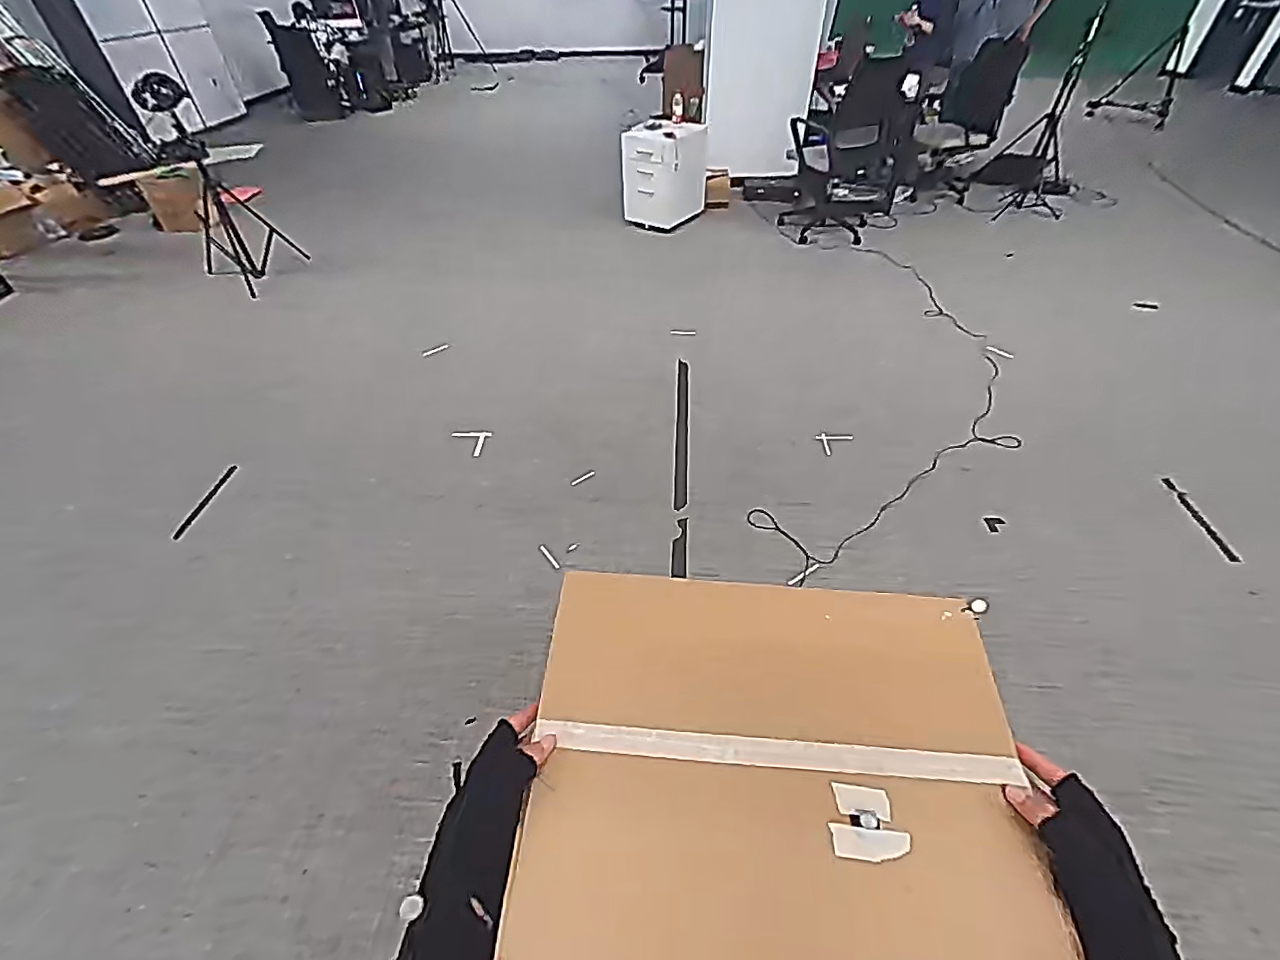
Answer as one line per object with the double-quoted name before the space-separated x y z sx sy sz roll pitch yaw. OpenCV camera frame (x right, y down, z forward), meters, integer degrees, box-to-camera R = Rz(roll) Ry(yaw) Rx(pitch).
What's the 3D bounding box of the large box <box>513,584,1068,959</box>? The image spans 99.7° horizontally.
"large box" 0.113 0.331 0.581 0.408 0.320 0.320 4 53 3
